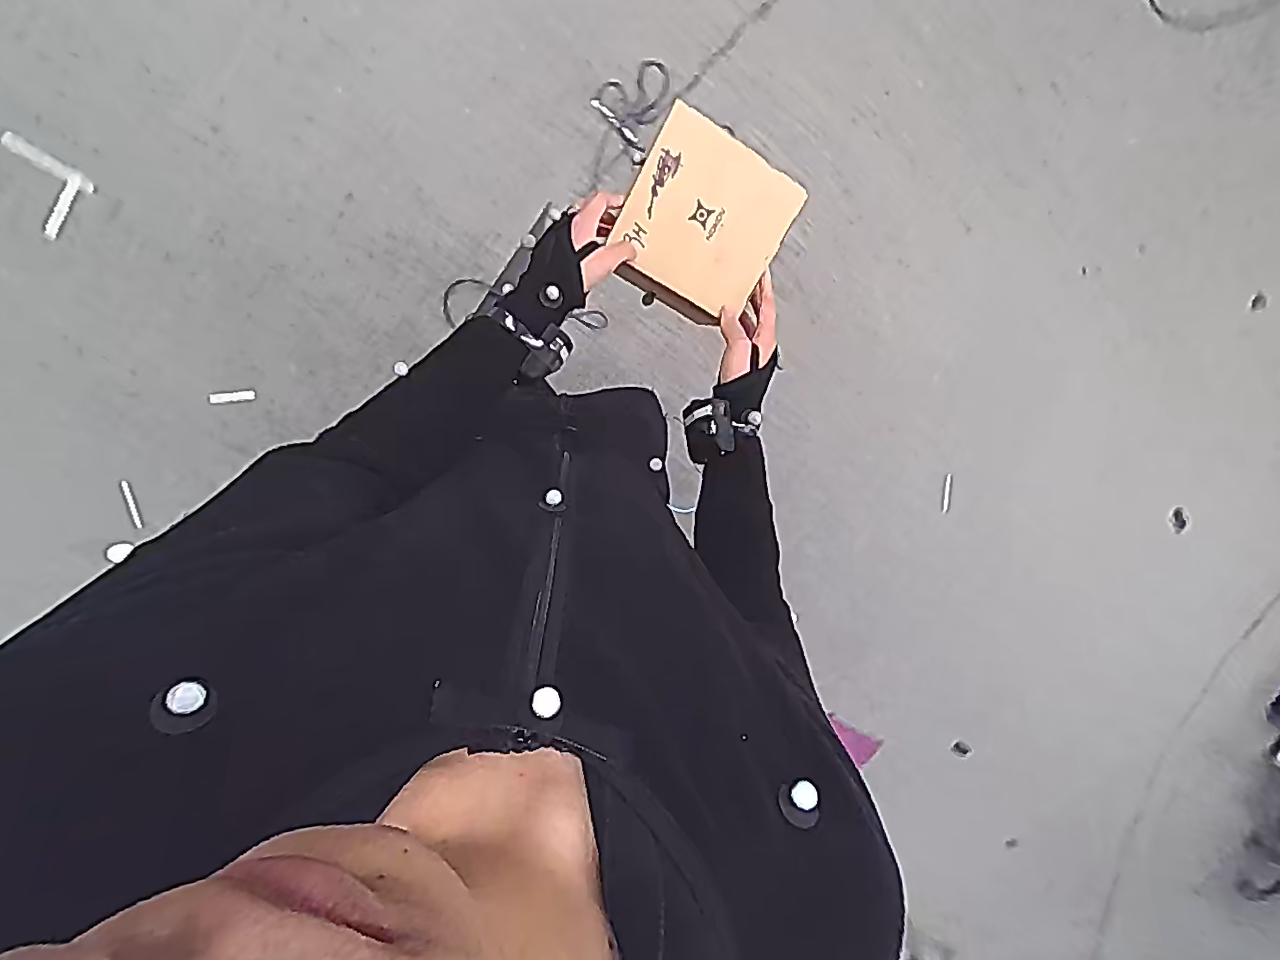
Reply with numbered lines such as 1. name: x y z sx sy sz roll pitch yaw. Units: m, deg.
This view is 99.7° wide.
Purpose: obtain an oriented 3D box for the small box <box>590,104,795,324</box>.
1. small box: 0.052 -0.315 0.675 0.179 0.176 0.168 25 103 -16
